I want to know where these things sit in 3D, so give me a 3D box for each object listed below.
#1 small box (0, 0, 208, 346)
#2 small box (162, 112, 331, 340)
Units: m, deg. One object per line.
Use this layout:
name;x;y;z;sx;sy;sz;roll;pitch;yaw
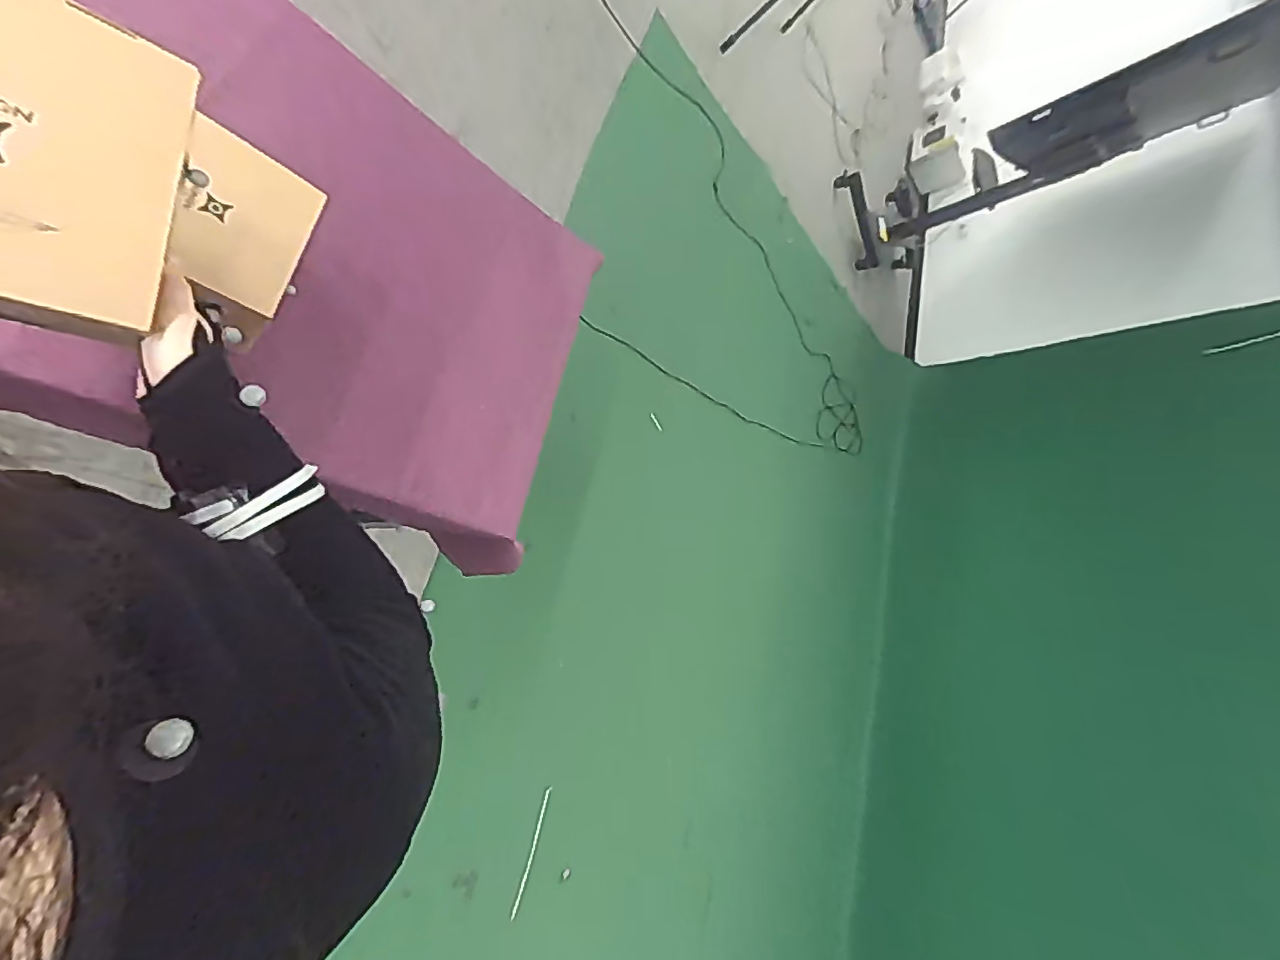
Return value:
small box;-0.408;-0.199;0.352;0.168;0.176;0.179;11;89;-42
small box;-0.484;-0.273;0.597;0.179;0.176;0.168;27;68;-40
